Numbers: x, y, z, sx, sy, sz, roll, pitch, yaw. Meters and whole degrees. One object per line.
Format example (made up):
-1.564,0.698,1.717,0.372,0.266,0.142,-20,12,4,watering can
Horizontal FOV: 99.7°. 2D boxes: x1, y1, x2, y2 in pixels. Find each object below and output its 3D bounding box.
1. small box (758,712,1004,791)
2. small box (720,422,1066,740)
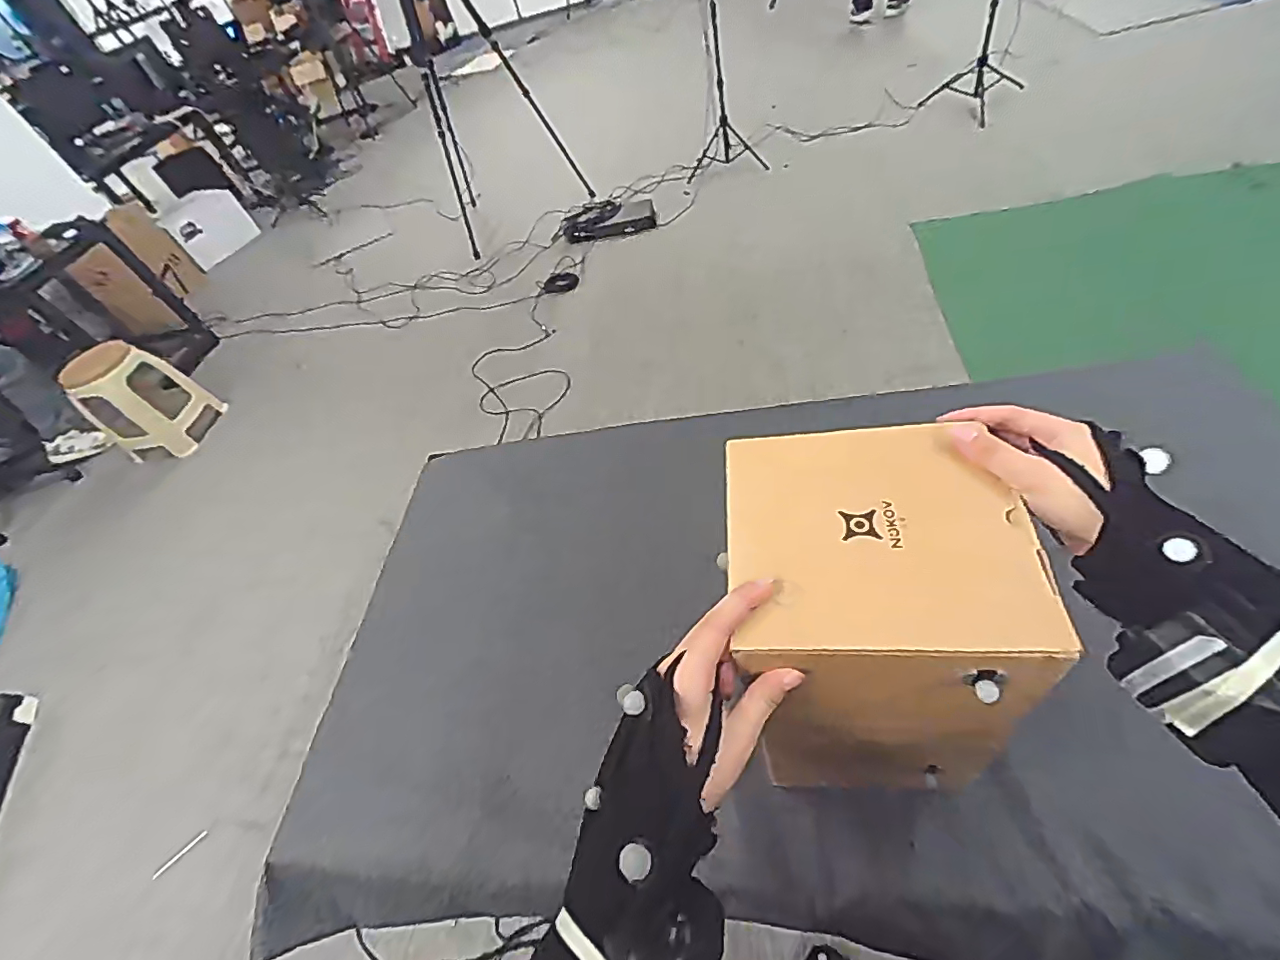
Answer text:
0.201,0.184,0.513,0.179,0.176,0.168,-7,48,13,small box
0.157,0.079,0.398,0.179,0.176,0.168,-4,49,13,small box
